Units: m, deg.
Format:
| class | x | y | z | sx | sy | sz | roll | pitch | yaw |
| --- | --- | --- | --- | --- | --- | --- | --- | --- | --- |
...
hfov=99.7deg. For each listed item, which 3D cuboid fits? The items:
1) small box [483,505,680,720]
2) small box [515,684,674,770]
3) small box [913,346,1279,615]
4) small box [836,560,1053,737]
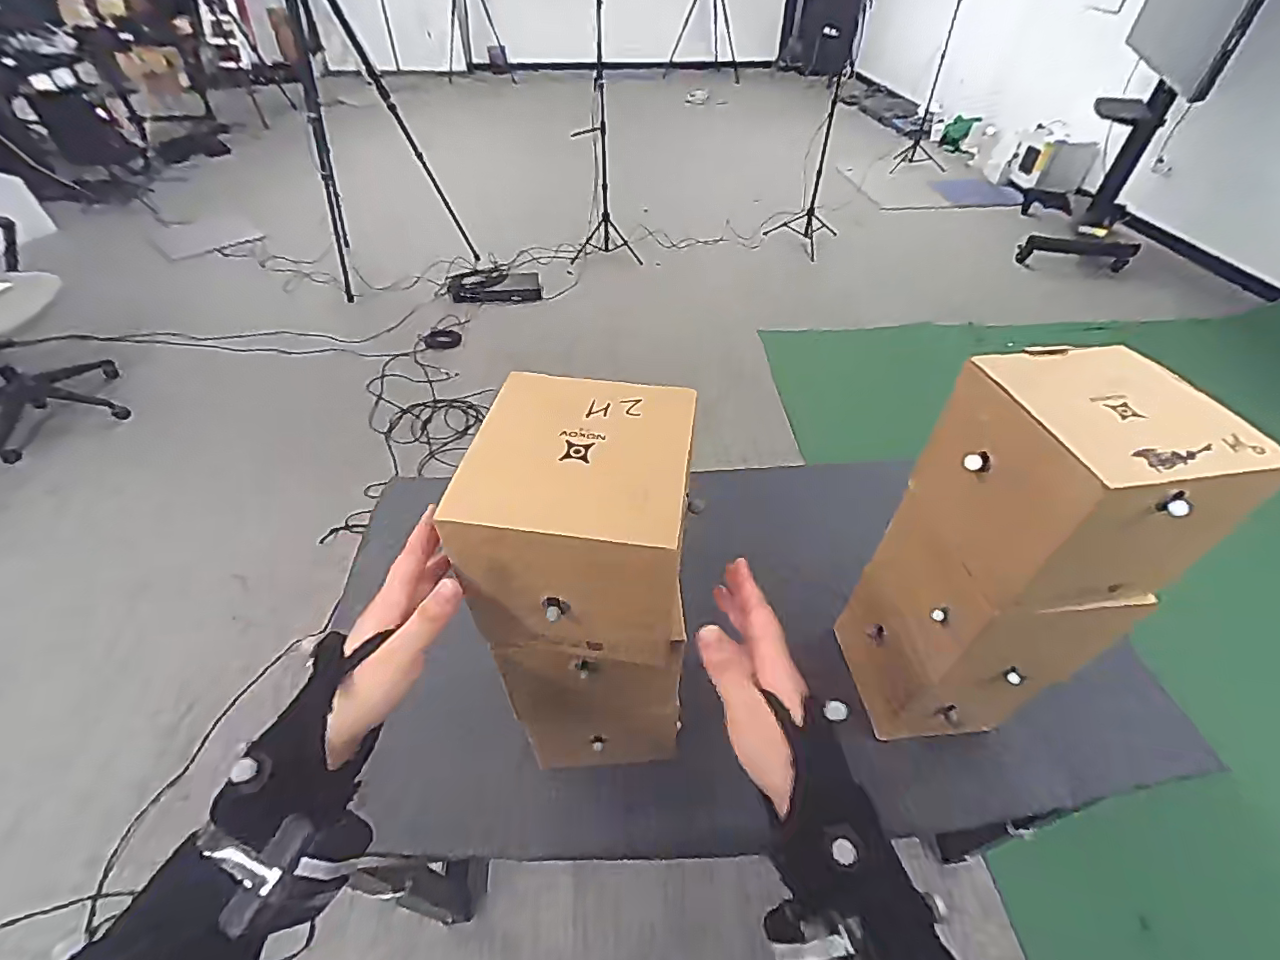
| class | x | y | z | sx | sy | sz | roll | pitch | yaw |
| --- | --- | --- | --- | --- | --- | --- | --- | --- | --- |
| small box | -0.056 | 0.145 | 0.581 | 0.179 | 0.176 | 0.168 | -2 | 46 | -4 |
| small box | -0.055 | 0.256 | 0.698 | 0.179 | 0.176 | 0.168 | -4 | 45 | -3 |
| small box | 0.389 | -0.002 | 0.497 | 0.168 | 0.176 | 0.179 | -6 | 45 | -6 |
| small box | 0.388 | 0.230 | 0.730 | 0.168 | 0.176 | 0.179 | -3 | 45 | -4 |
